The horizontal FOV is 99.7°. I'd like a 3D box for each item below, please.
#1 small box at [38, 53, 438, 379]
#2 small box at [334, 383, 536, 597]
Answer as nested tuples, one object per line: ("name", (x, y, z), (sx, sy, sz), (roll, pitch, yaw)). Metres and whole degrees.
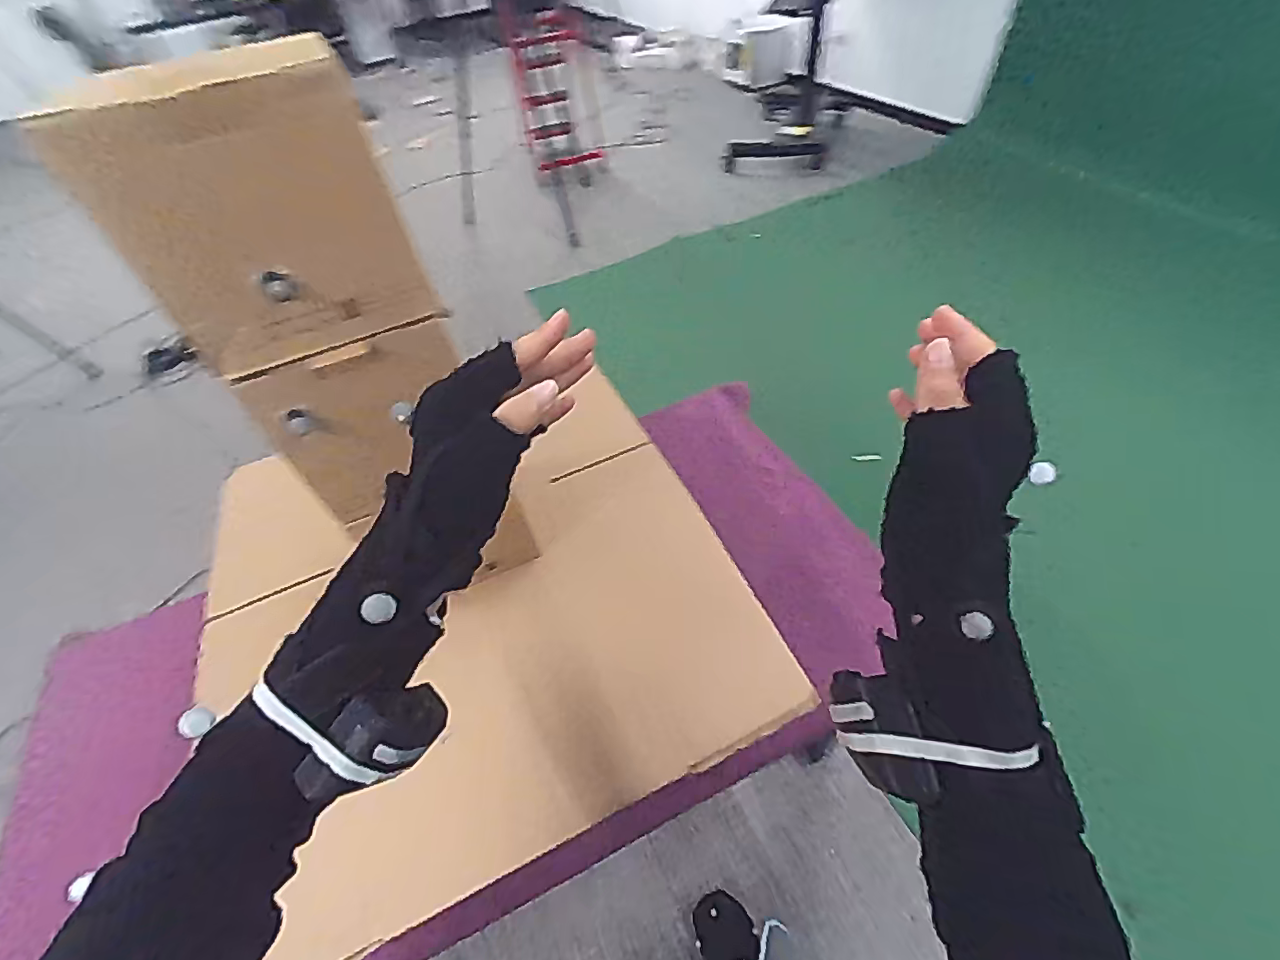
("small box", (-0.280, -0.207, 0.422), (0.168, 0.176, 0.179), (-24, 48, -14))
("small box", (-0.242, 0.019, 0.656), (0.168, 0.176, 0.179), (-23, 48, -13))
